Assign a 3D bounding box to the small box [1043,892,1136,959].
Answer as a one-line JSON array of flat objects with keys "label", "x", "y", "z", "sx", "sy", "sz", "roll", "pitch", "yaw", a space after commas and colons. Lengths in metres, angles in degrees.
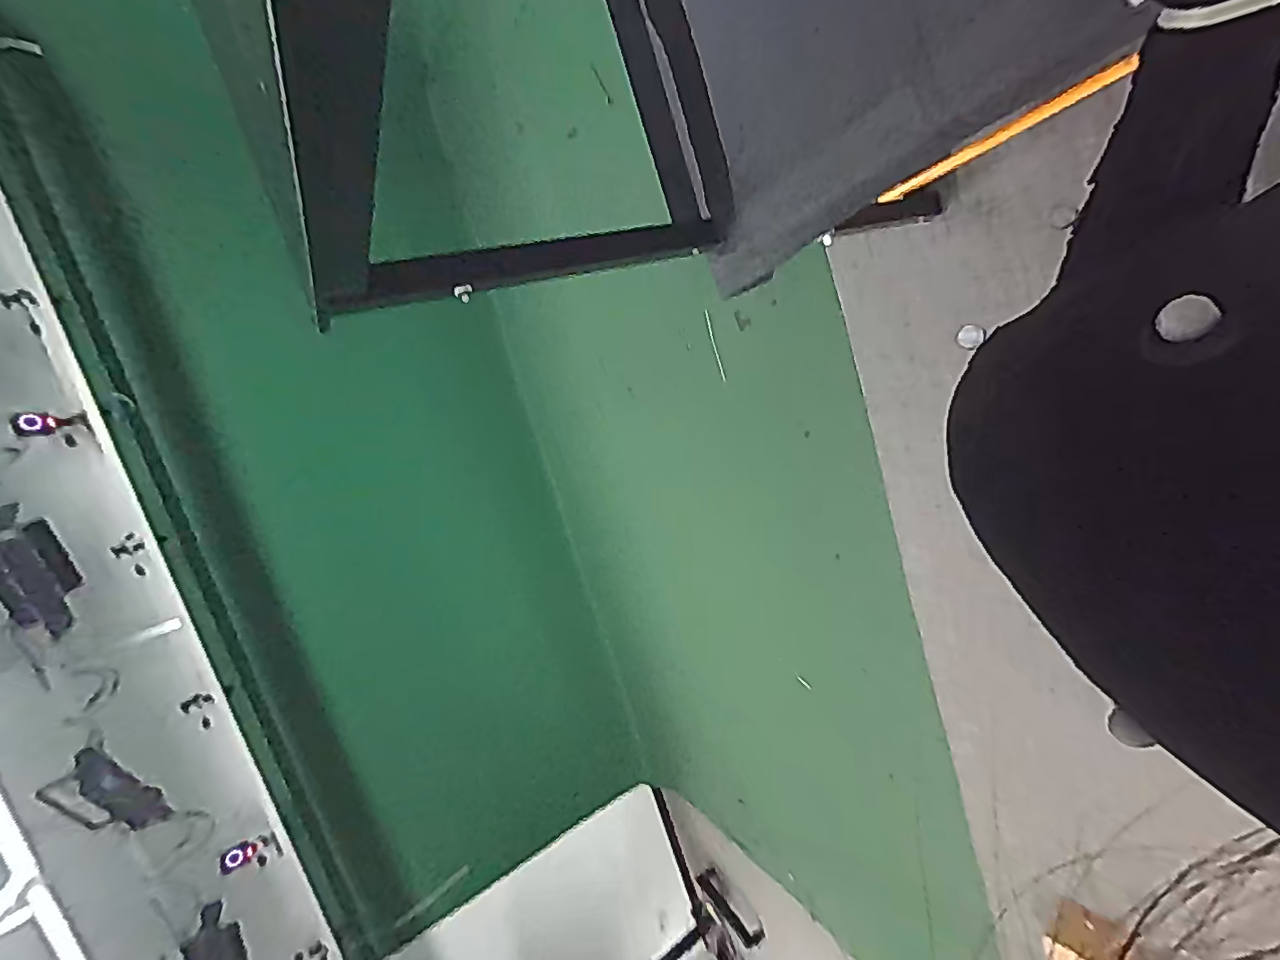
[{"label": "small box", "x": 1.380, "y": 1.431, "z": 1.654, "sx": 0.168, "sy": 0.176, "sz": 0.179, "roll": 0, "pitch": 108, "yaw": 61}]
